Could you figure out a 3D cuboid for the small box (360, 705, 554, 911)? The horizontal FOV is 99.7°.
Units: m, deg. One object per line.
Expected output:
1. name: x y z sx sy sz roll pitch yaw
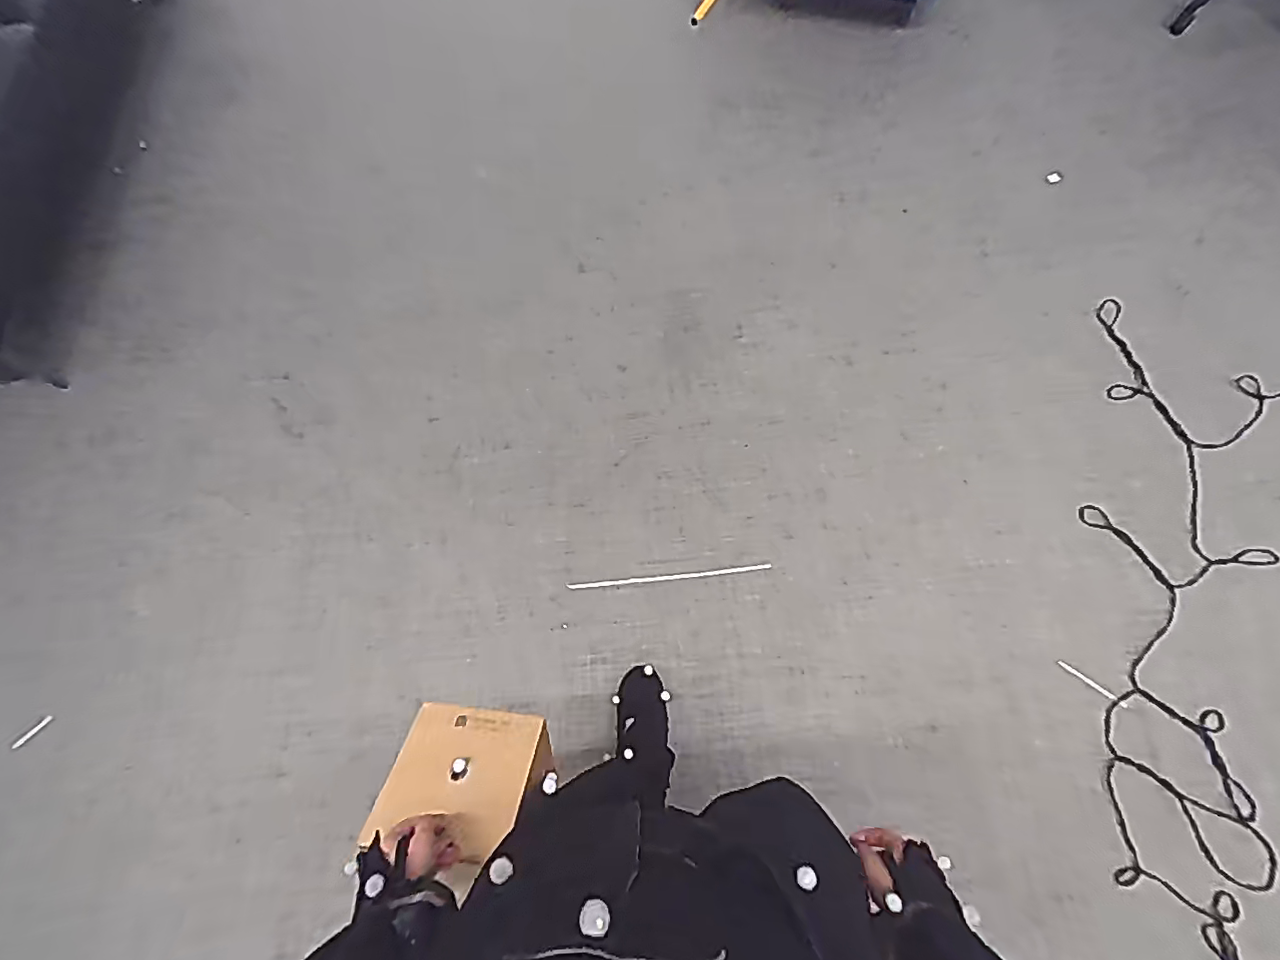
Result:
1. small box: -0.214 0.411 0.688 0.168 0.179 0.176 6 39 6
